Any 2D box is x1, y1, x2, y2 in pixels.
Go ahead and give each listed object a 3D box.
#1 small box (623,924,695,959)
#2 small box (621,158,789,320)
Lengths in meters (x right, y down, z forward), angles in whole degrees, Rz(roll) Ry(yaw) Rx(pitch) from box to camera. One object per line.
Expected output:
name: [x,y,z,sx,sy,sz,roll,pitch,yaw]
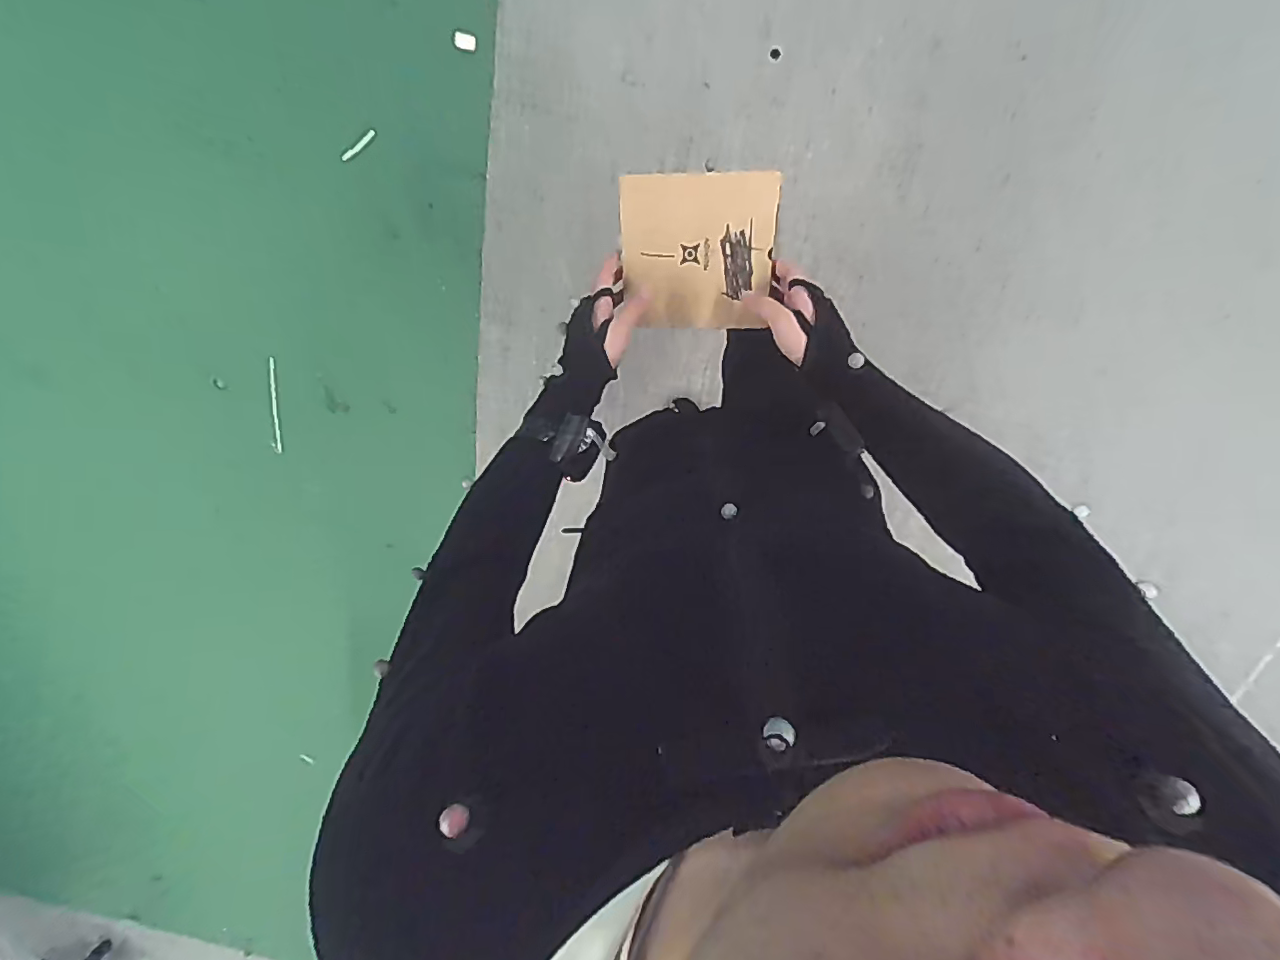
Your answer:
small box: [0.038,1.177,1.246,0.168,0.176,0.179,6,113,3]
small box: [0.074,-0.299,0.665,0.179,0.176,0.168,1,119,5]
